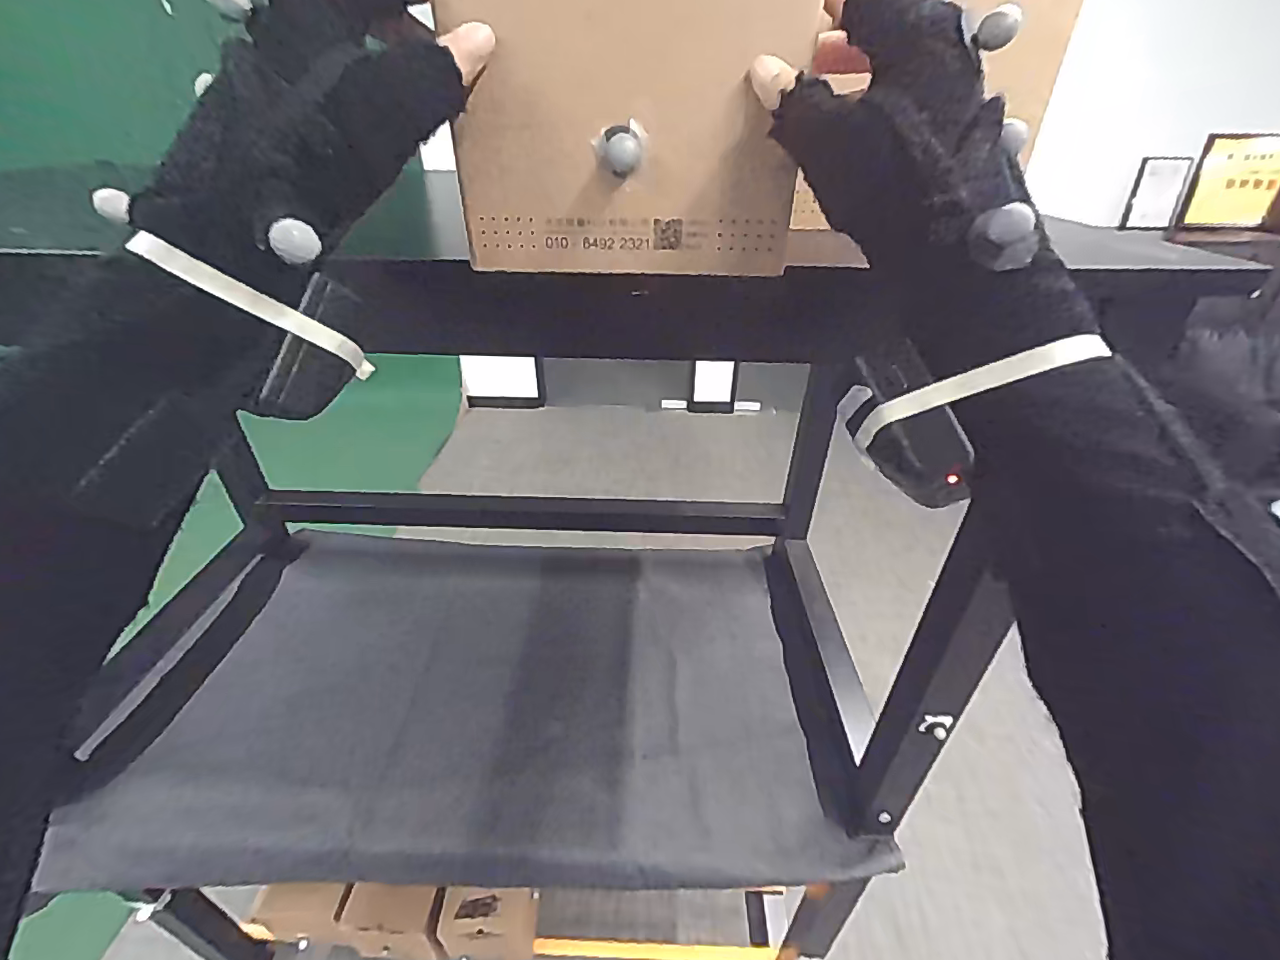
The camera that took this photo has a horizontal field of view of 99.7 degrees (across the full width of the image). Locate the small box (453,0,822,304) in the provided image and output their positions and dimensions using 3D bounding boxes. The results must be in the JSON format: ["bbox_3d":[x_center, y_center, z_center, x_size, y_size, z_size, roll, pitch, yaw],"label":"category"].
[{"bbox_3d":[0.000,-0.214,0.321,0.168,0.176,0.179,2,34,3],"label":"small box"}]
